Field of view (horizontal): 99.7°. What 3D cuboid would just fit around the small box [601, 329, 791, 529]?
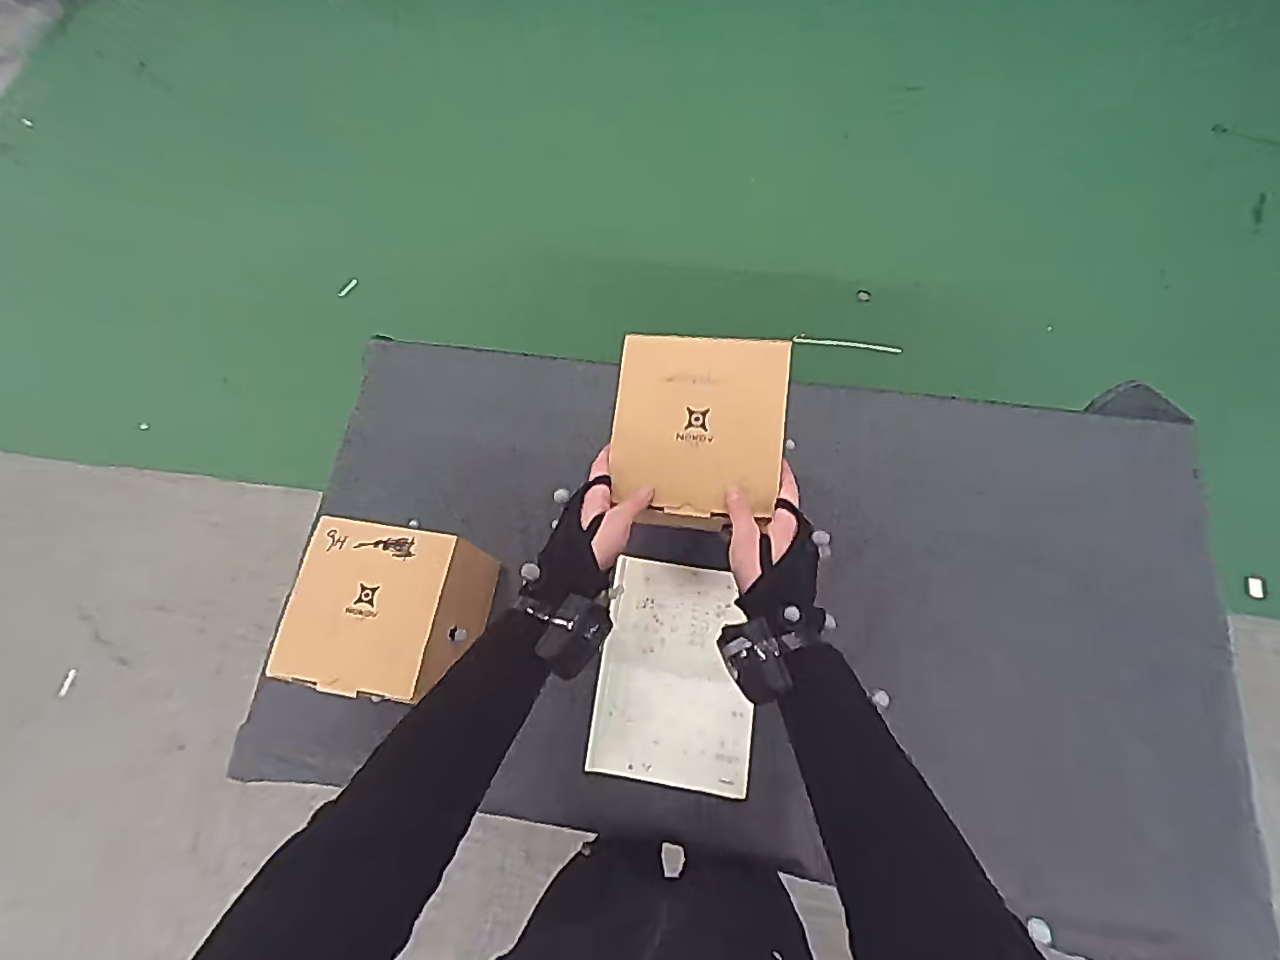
[{"bbox_3d":[0.065,-0.044,0.583,0.168,0.176,0.179,5,81,10],"label":"small box"}]

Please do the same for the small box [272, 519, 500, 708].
[{"bbox_3d":[-0.287,0.162,0.655,0.168,0.176,0.179,8,73,7],"label":"small box"}]
